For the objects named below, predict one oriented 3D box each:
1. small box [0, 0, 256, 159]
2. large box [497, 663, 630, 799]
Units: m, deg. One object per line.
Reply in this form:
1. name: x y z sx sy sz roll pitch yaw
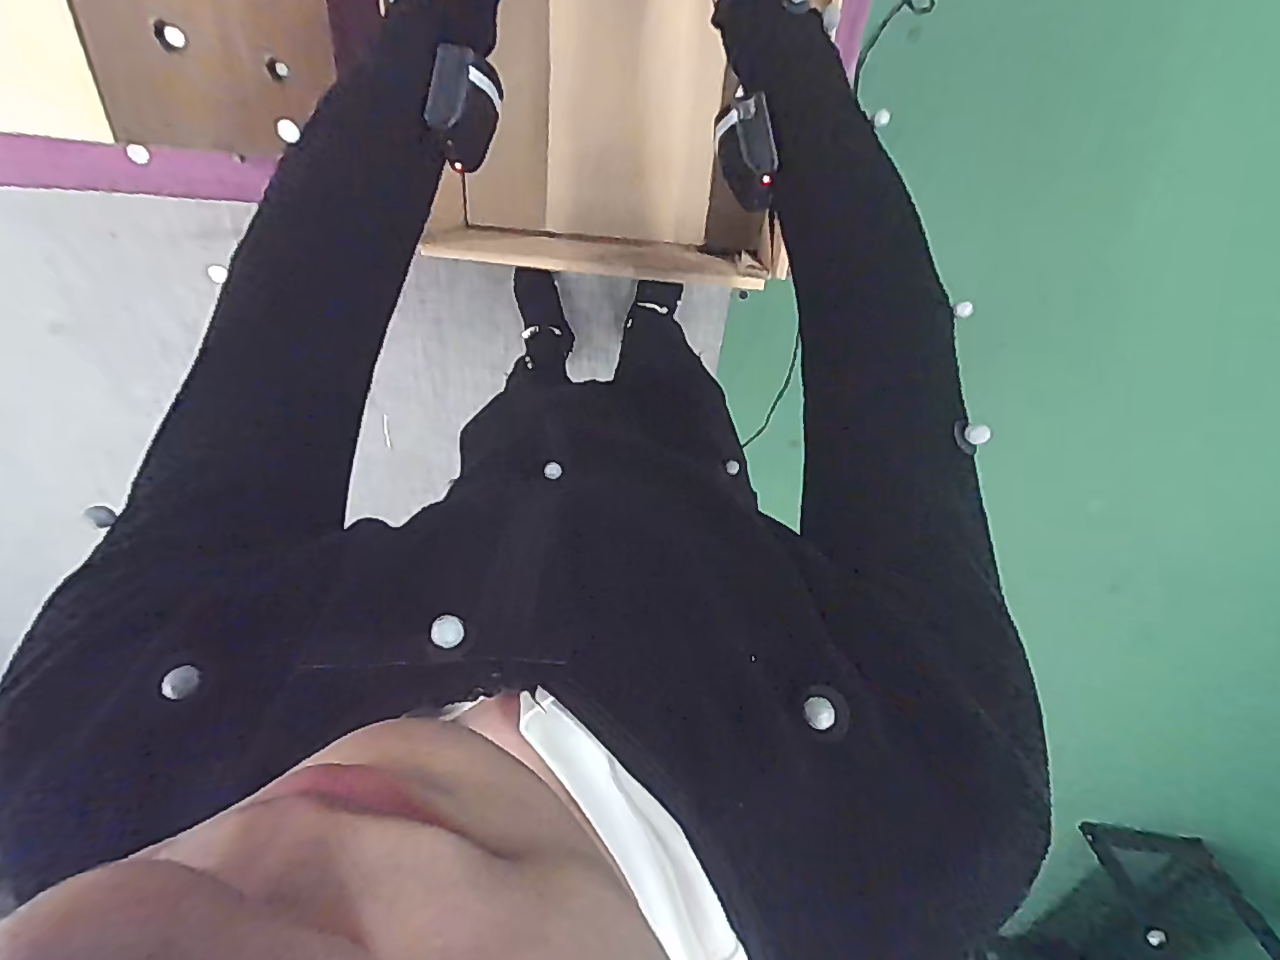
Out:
1. small box: -0.460 -0.373 0.437 0.168 0.176 0.179 7 119 0
2. large box: -0.290 0.996 2.155 0.408 0.320 0.320 -24 116 15
